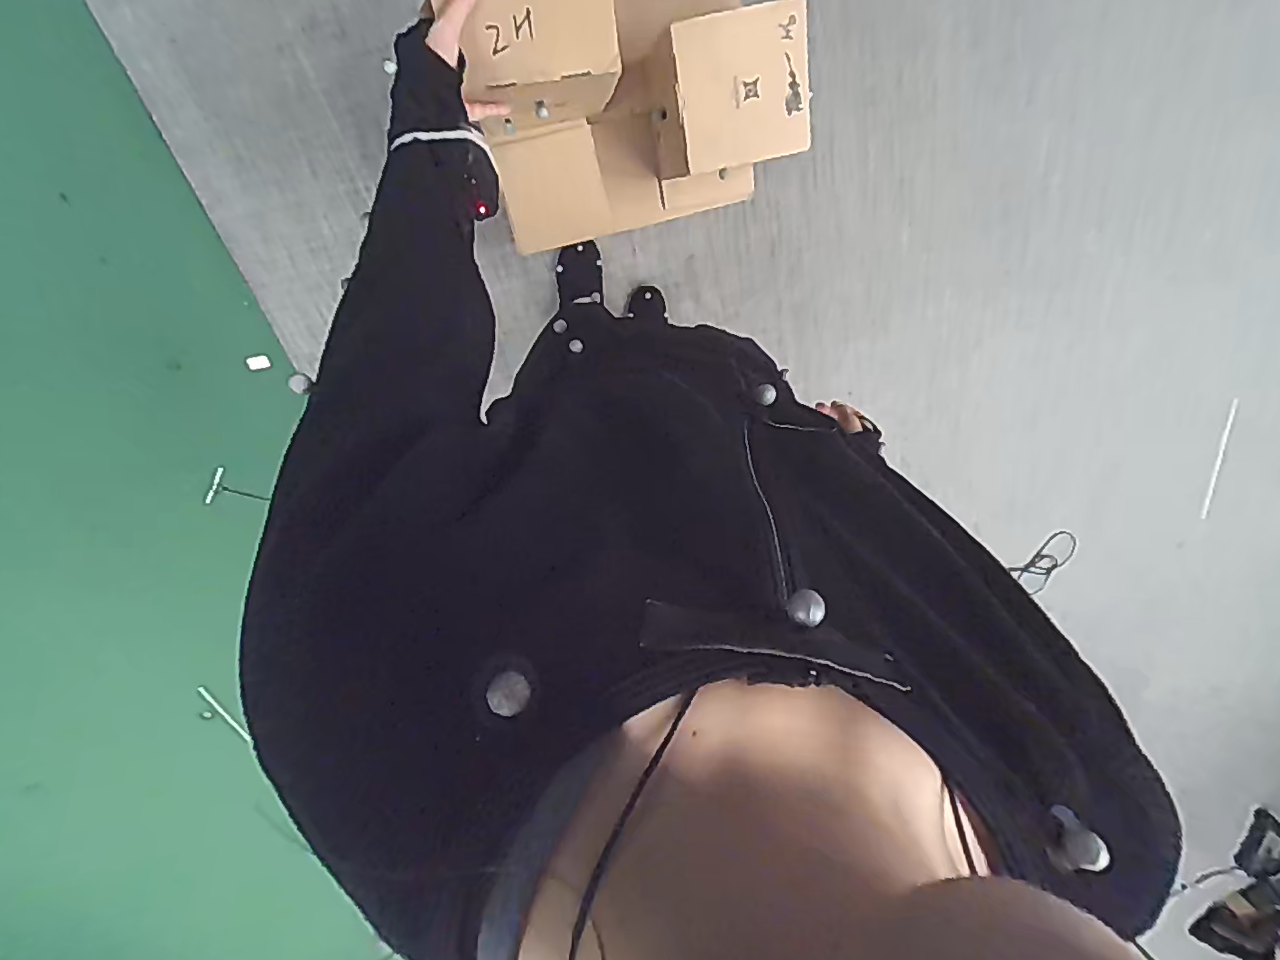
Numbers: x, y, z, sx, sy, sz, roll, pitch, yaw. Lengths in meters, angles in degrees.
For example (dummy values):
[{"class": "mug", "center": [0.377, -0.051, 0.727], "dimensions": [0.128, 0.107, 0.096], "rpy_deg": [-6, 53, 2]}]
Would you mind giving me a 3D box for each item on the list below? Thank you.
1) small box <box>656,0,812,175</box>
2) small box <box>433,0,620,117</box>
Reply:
[{"class": "small box", "center": [0.123, -0.534, 0.756], "dimensions": [0.179, 0.176, 0.168], "rpy_deg": [-13, 120, -2]}, {"class": "small box", "center": [-0.119, -0.497, 0.553], "dimensions": [0.168, 0.176, 0.179], "rpy_deg": [-9, 118, -2]}]
